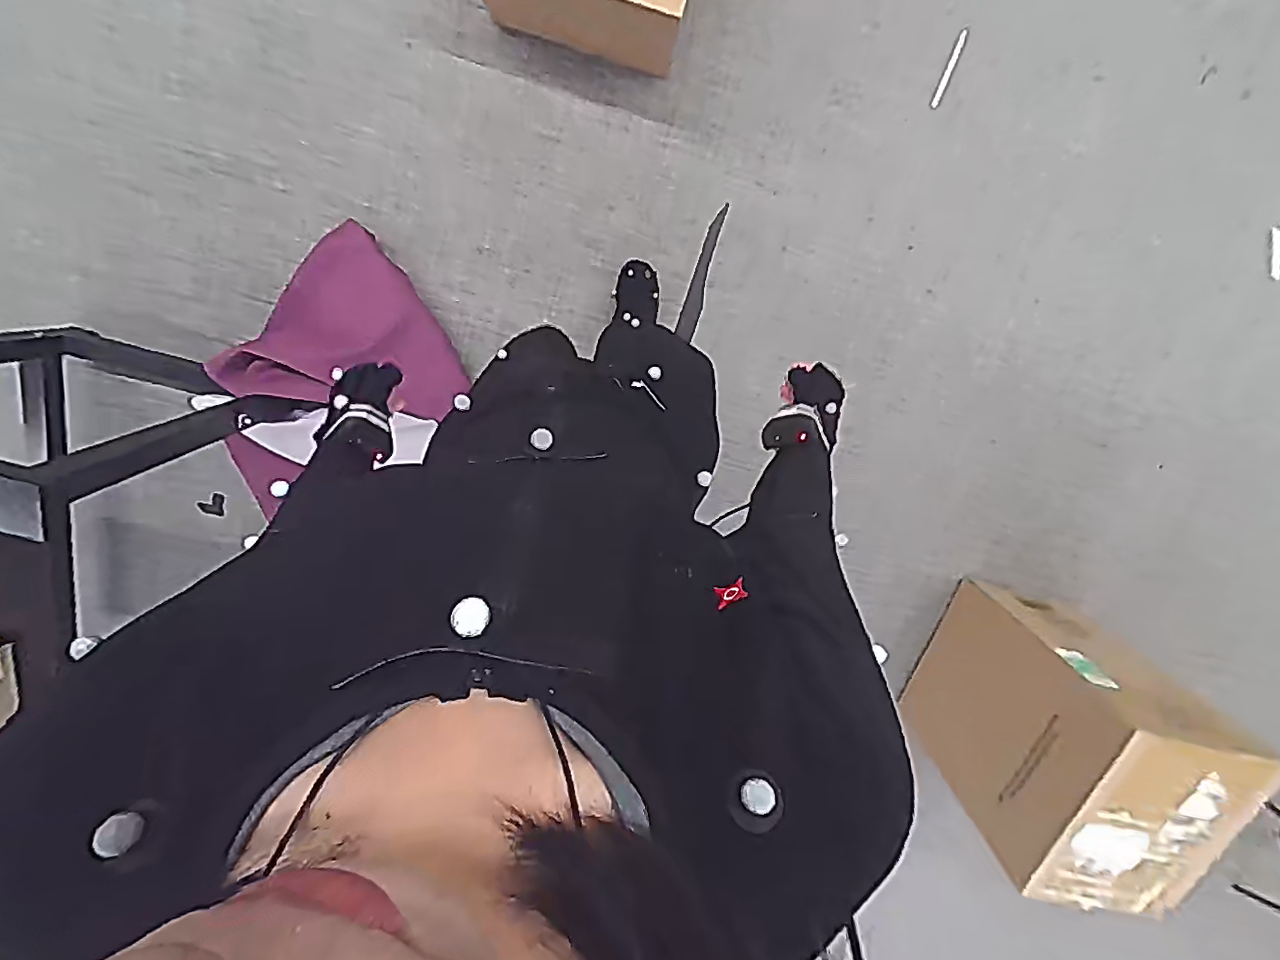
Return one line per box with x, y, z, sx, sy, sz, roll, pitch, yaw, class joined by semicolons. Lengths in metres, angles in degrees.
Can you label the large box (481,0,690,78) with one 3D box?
-0.088;-1.030;1.008;0.408;0.320;0.320;12;110;-7;large box
